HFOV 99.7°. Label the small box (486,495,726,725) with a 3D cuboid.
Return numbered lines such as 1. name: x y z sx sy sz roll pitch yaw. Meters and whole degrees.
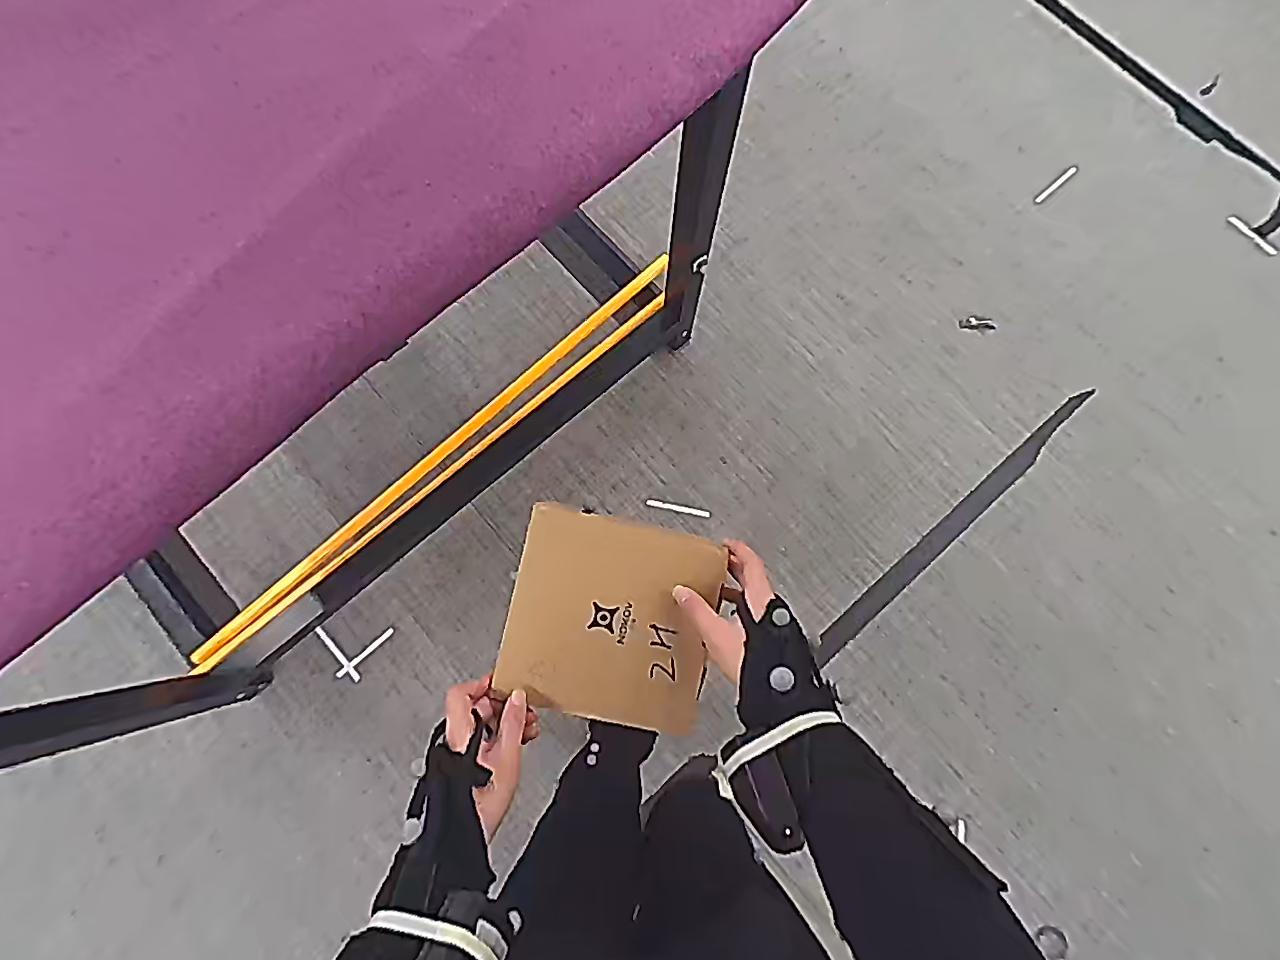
1. small box: -0.034 0.115 0.539 0.179 0.176 0.168 13 87 -5
